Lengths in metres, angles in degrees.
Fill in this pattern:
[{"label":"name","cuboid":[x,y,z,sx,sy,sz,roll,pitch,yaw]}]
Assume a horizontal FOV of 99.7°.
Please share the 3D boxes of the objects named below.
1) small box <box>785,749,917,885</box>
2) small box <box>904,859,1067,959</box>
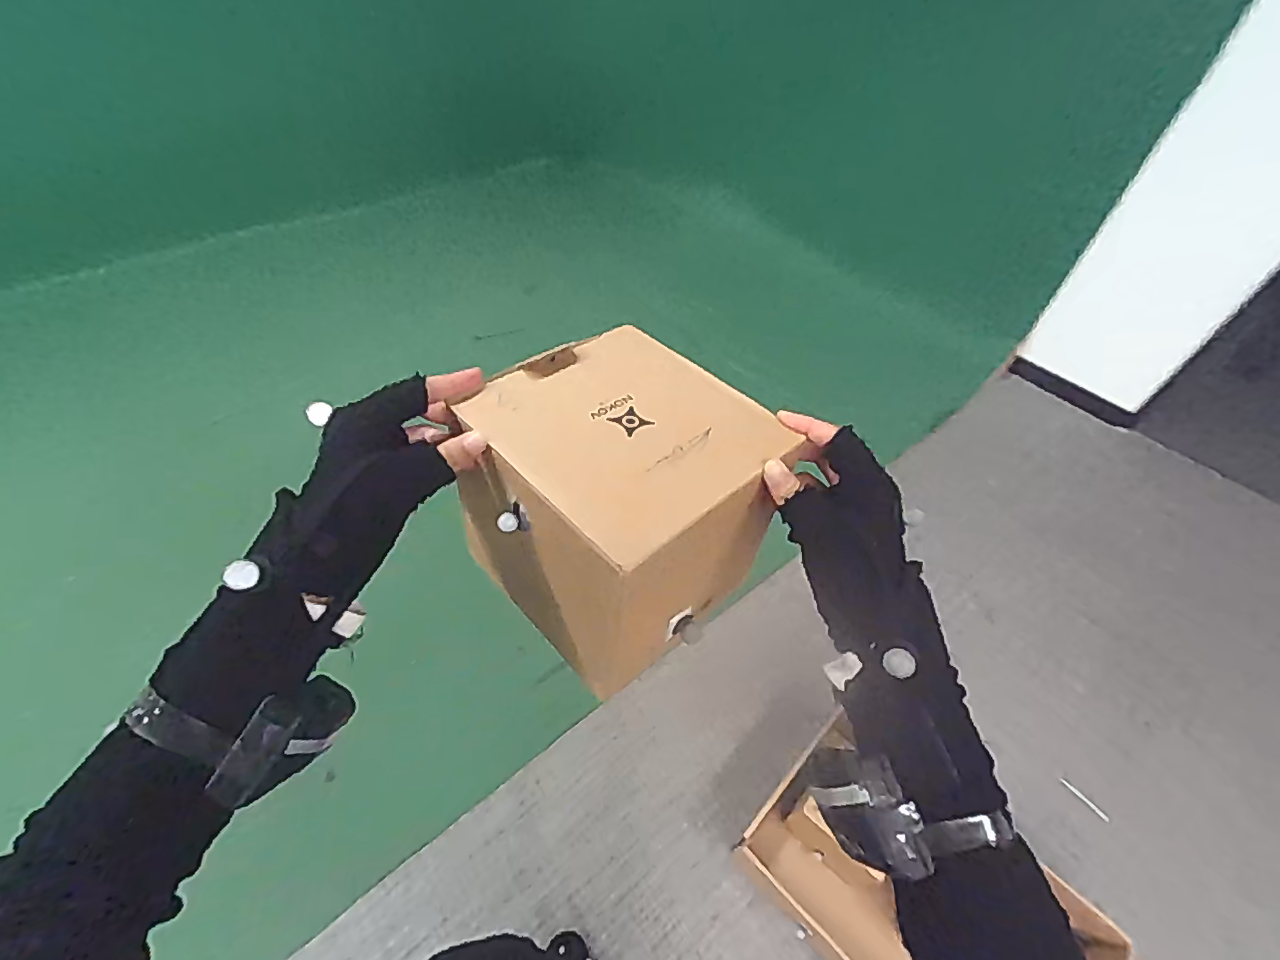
[{"label":"small box","cuboid":[0.437,0.710,1.141,0.179,0.176,0.168,36,57,23]},{"label":"small box","cuboid":[0.636,0.866,1.017,0.168,0.176,0.179,-35,59,-27]}]
